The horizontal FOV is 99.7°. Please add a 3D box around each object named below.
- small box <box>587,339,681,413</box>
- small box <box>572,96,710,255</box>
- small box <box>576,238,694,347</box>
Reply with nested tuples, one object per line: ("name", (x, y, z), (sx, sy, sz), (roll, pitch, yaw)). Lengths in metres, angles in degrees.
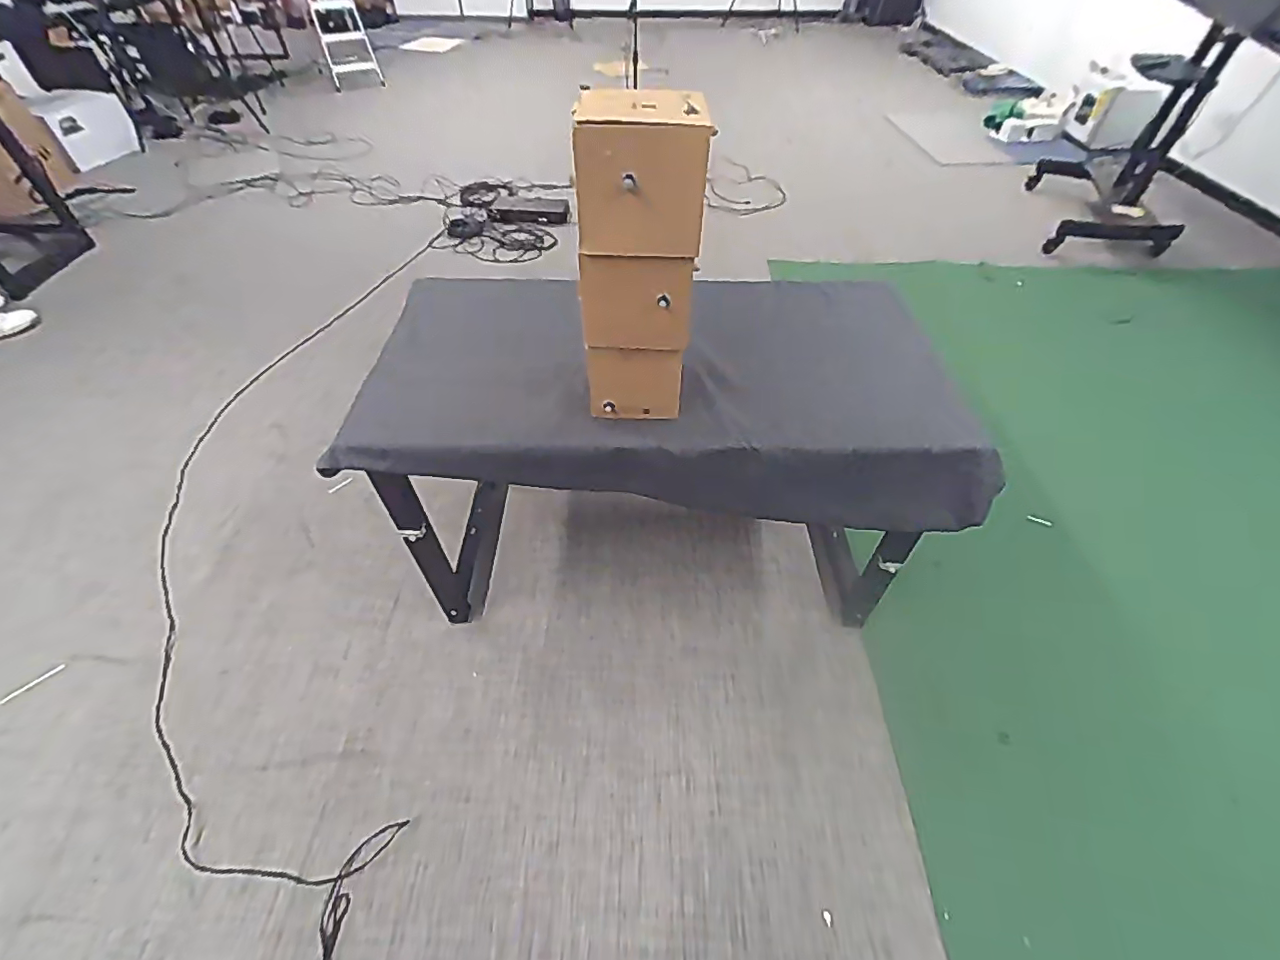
("small box", (-0.010, -0.242, 1.042), (0.168, 0.176, 0.179), (-1, 50, -1))
("small box", (-0.001, -0.441, 0.786), (0.179, 0.176, 0.168), (0, 46, -2))
("small box", (-0.004, -0.339, 0.911), (0.179, 0.176, 0.168), (2, 47, 3))
